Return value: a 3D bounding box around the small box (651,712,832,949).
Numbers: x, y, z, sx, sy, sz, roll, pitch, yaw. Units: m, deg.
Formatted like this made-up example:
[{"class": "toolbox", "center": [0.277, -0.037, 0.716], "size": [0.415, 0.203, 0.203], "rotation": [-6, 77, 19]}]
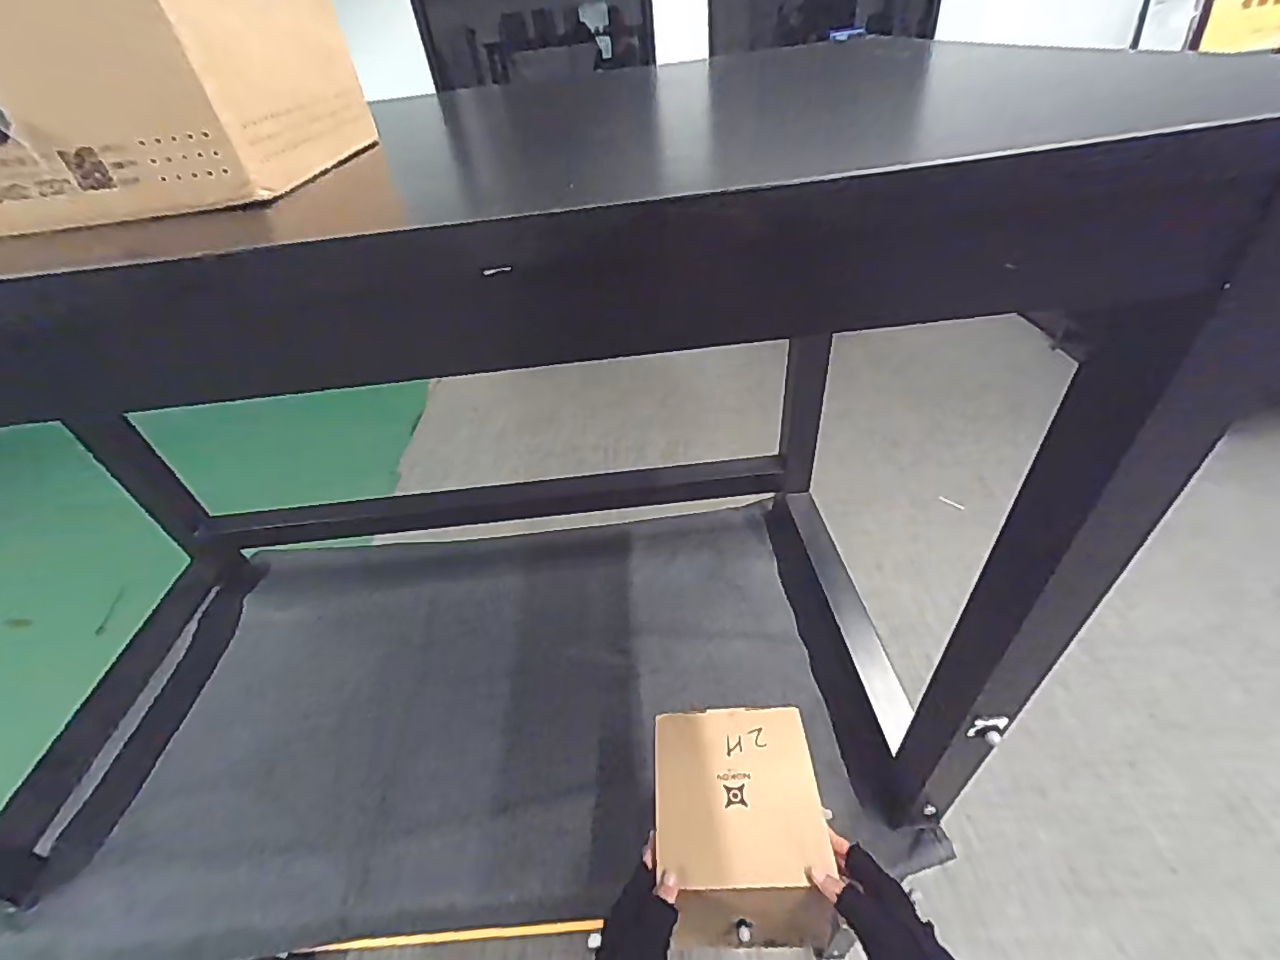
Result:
[{"class": "small box", "center": [0.103, 0.384, 0.595], "size": [0.168, 0.176, 0.179], "rotation": [-4, 34, 4]}]
